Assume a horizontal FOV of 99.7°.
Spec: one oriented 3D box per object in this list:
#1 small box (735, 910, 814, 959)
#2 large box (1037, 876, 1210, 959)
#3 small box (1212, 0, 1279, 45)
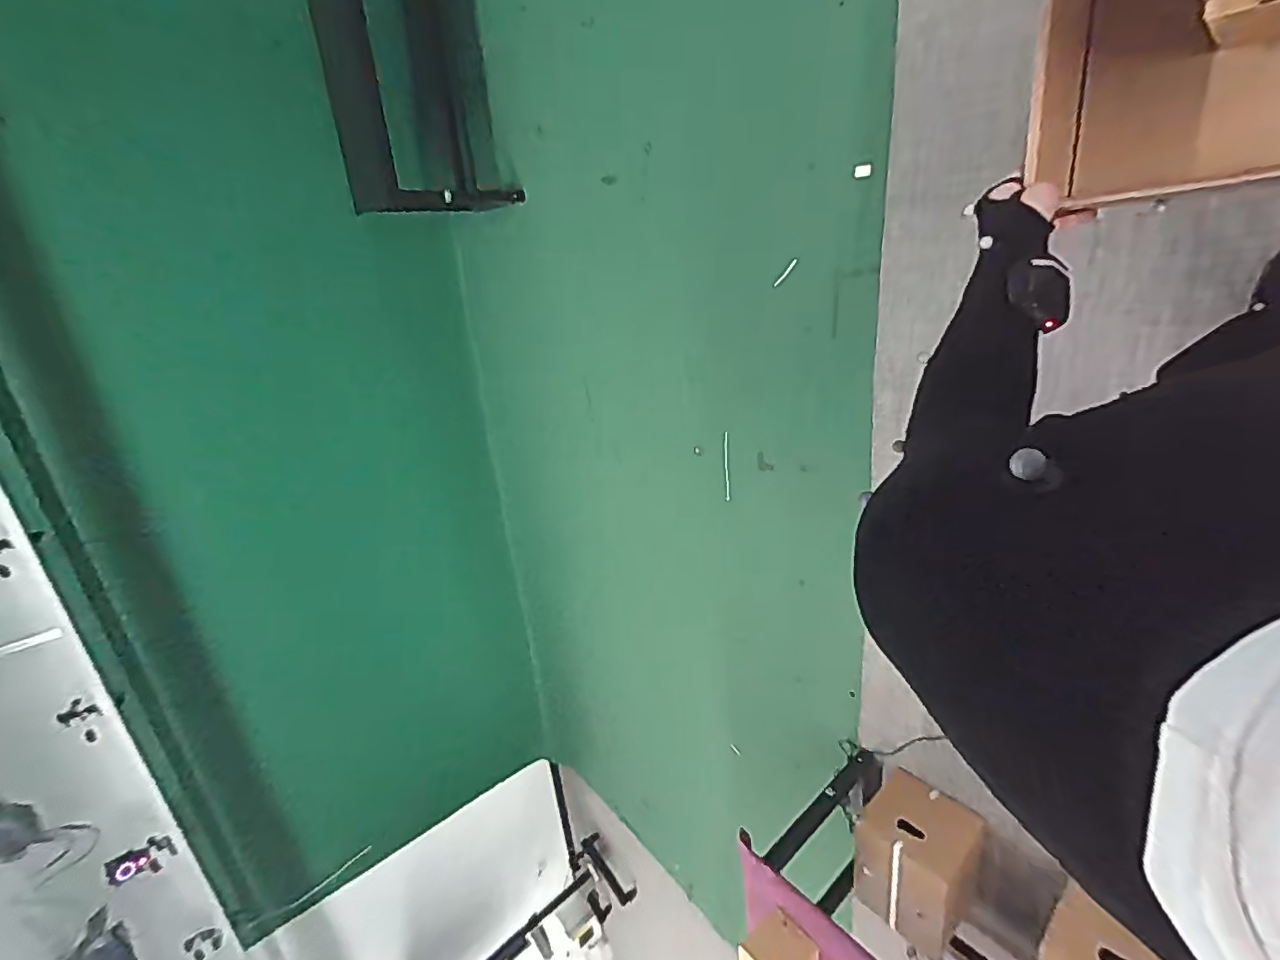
[{"bbox_3d":[0.402,1.448,1.604,0.168,0.176,0.179,18,122,46],"label":"small box"},{"bbox_3d":[1.337,1.456,1.516,0.320,0.320,0.408,14,118,50],"label":"large box"},{"bbox_3d":[0.579,-0.473,0.411,0.168,0.176,0.179,17,123,44],"label":"small box"}]
